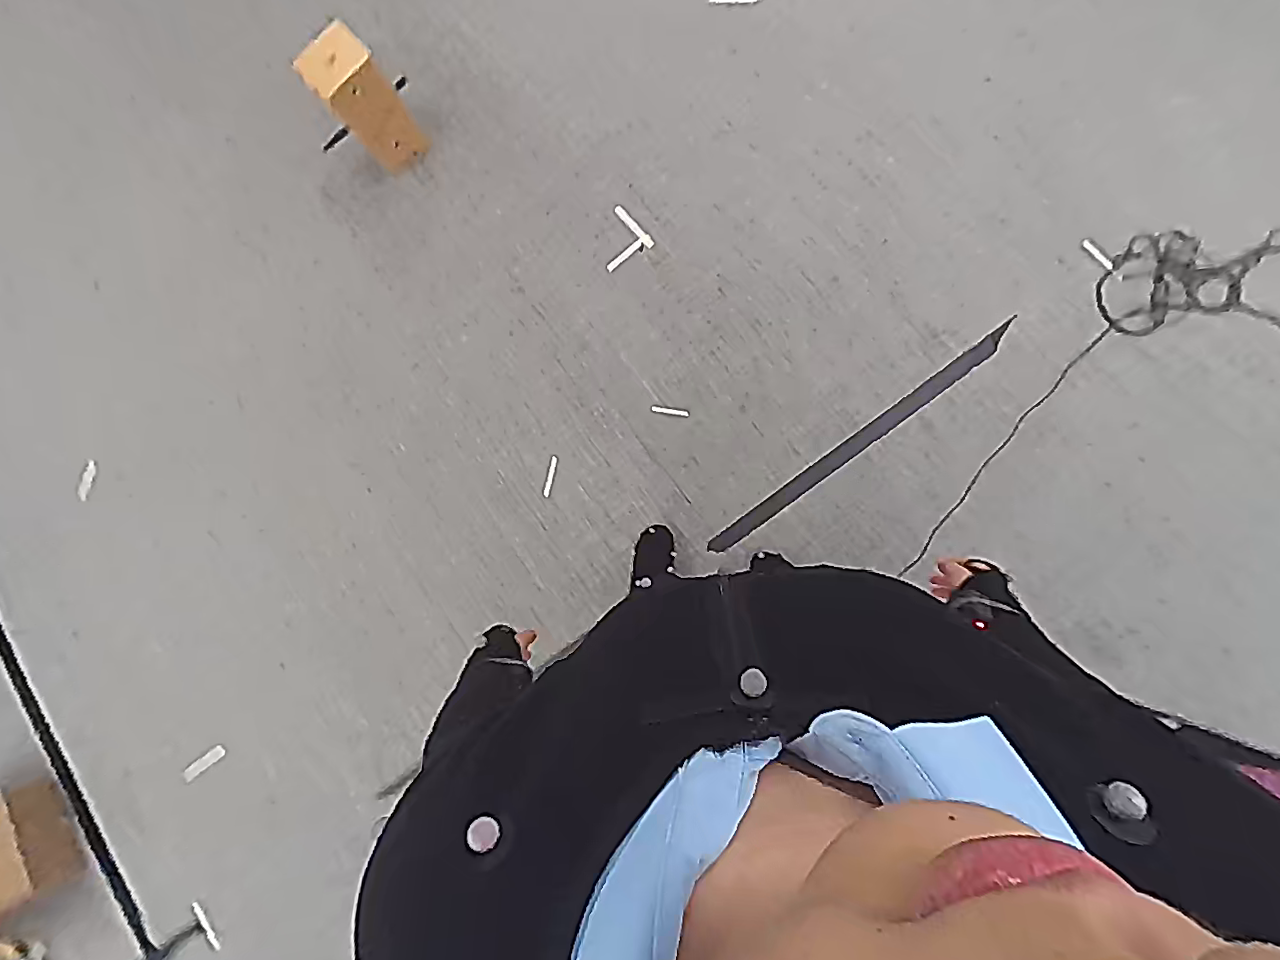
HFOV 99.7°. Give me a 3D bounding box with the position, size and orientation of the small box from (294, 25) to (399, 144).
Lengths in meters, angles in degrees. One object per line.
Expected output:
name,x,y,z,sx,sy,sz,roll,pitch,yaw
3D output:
small box,-0.821,-1.118,1.541,0.179,0.176,0.168,-44,80,2

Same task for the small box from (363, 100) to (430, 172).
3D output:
small box,-0.800,-1.111,1.702,0.168,0.176,0.179,-35,80,2
